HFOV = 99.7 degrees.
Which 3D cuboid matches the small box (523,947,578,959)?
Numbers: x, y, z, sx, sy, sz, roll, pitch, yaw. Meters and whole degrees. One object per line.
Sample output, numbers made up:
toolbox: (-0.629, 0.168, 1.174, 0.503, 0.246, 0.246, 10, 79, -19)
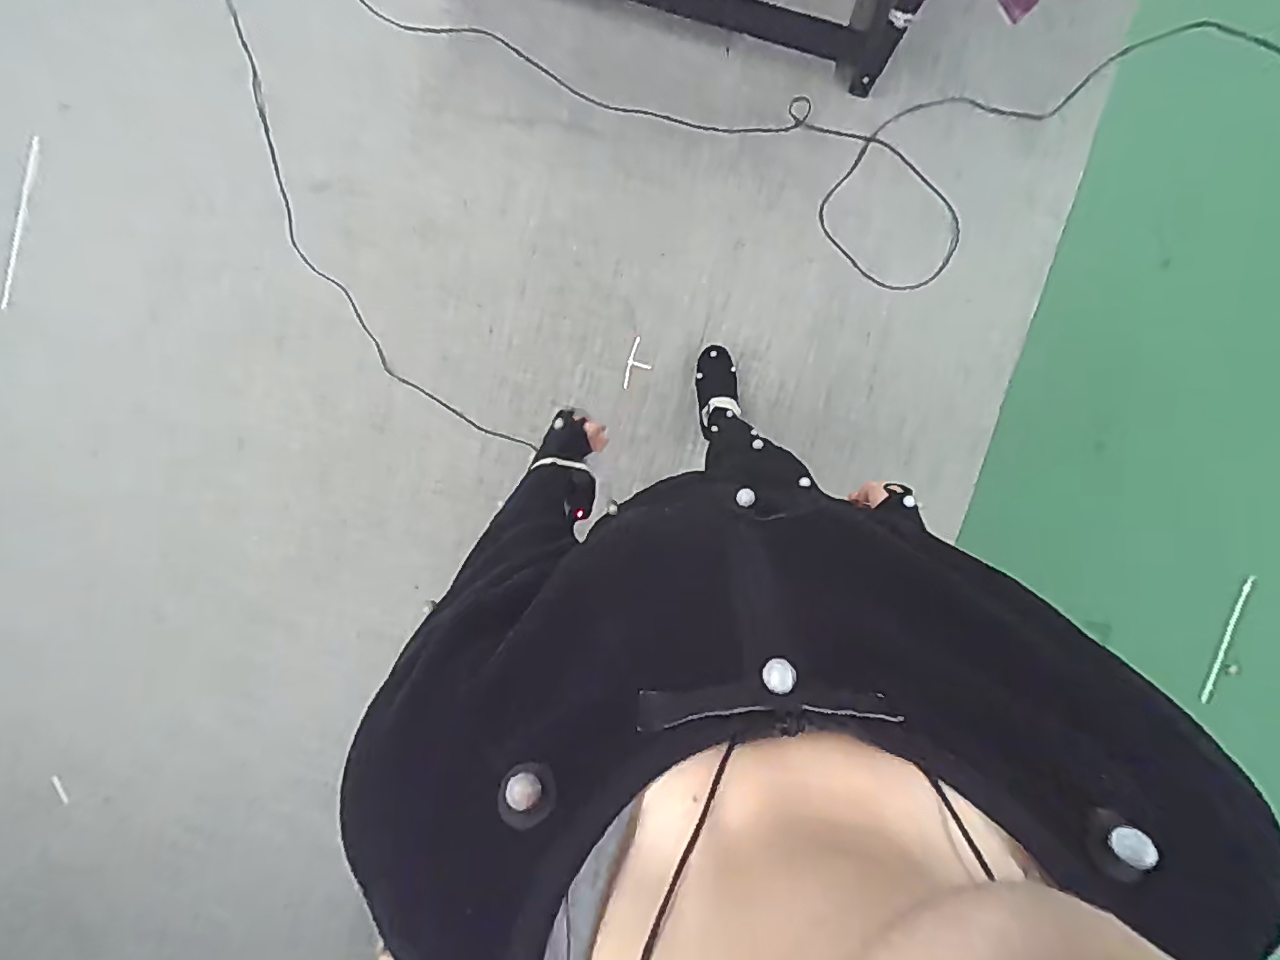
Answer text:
small box: (-0.228, 1.273, 1.286, 0.179, 0.176, 0.168, 14, 93, 2)
